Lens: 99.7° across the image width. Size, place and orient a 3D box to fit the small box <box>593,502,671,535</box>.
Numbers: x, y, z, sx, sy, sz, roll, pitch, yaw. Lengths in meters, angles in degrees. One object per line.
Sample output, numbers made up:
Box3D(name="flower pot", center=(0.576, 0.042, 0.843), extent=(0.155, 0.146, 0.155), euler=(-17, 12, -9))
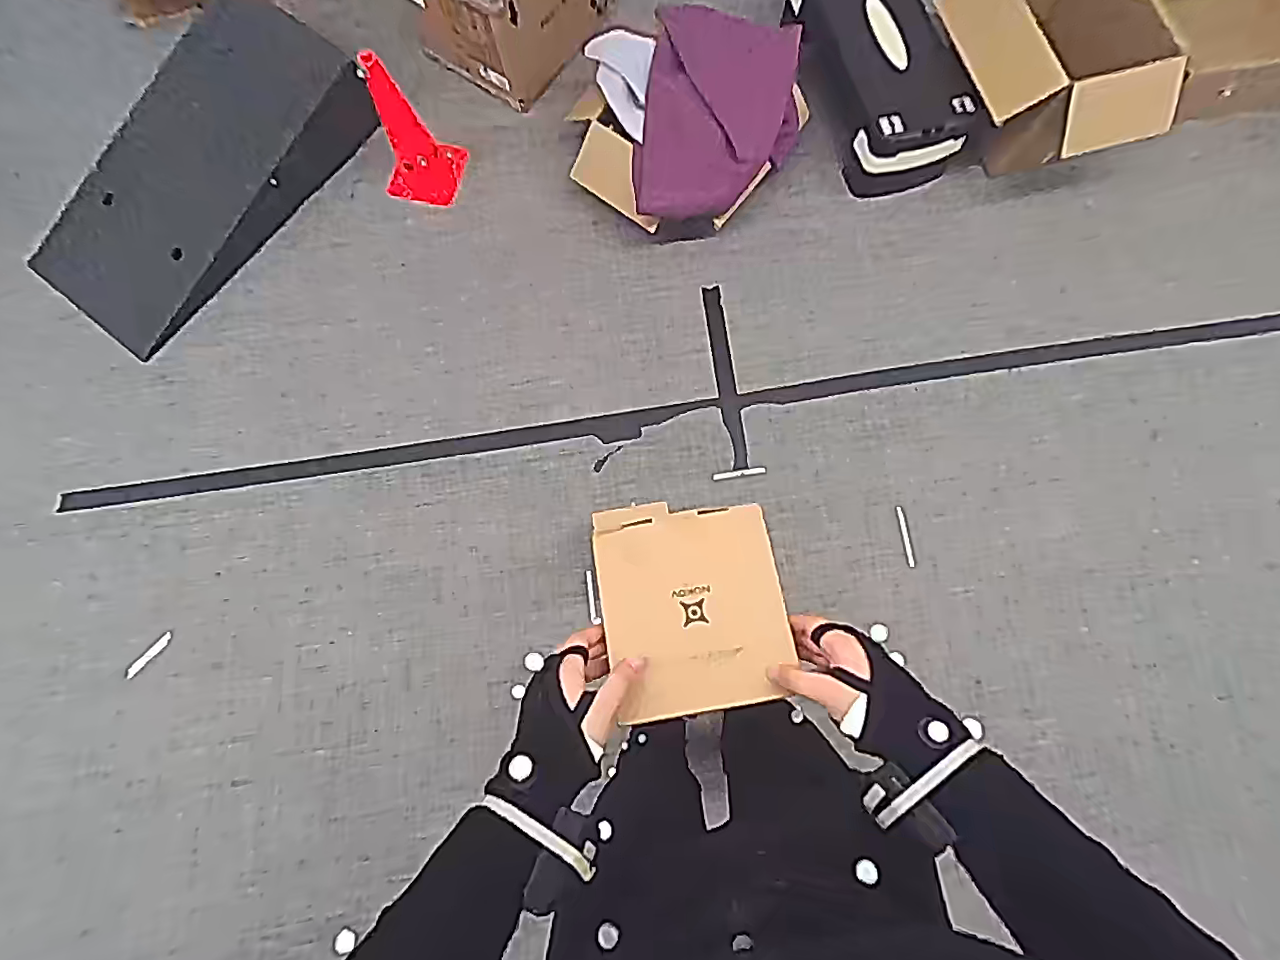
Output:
Box3D(name="small box", center=(-0.009, 0.154, 1.280), extent=(0.179, 0.176, 0.168), euler=(-9, 78, -1))

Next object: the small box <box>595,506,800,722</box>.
Box3D(name="small box", center=(0.050, 0.141, 0.573), extent=(0.168, 0.176, 0.179), euler=(-10, 74, -1))
